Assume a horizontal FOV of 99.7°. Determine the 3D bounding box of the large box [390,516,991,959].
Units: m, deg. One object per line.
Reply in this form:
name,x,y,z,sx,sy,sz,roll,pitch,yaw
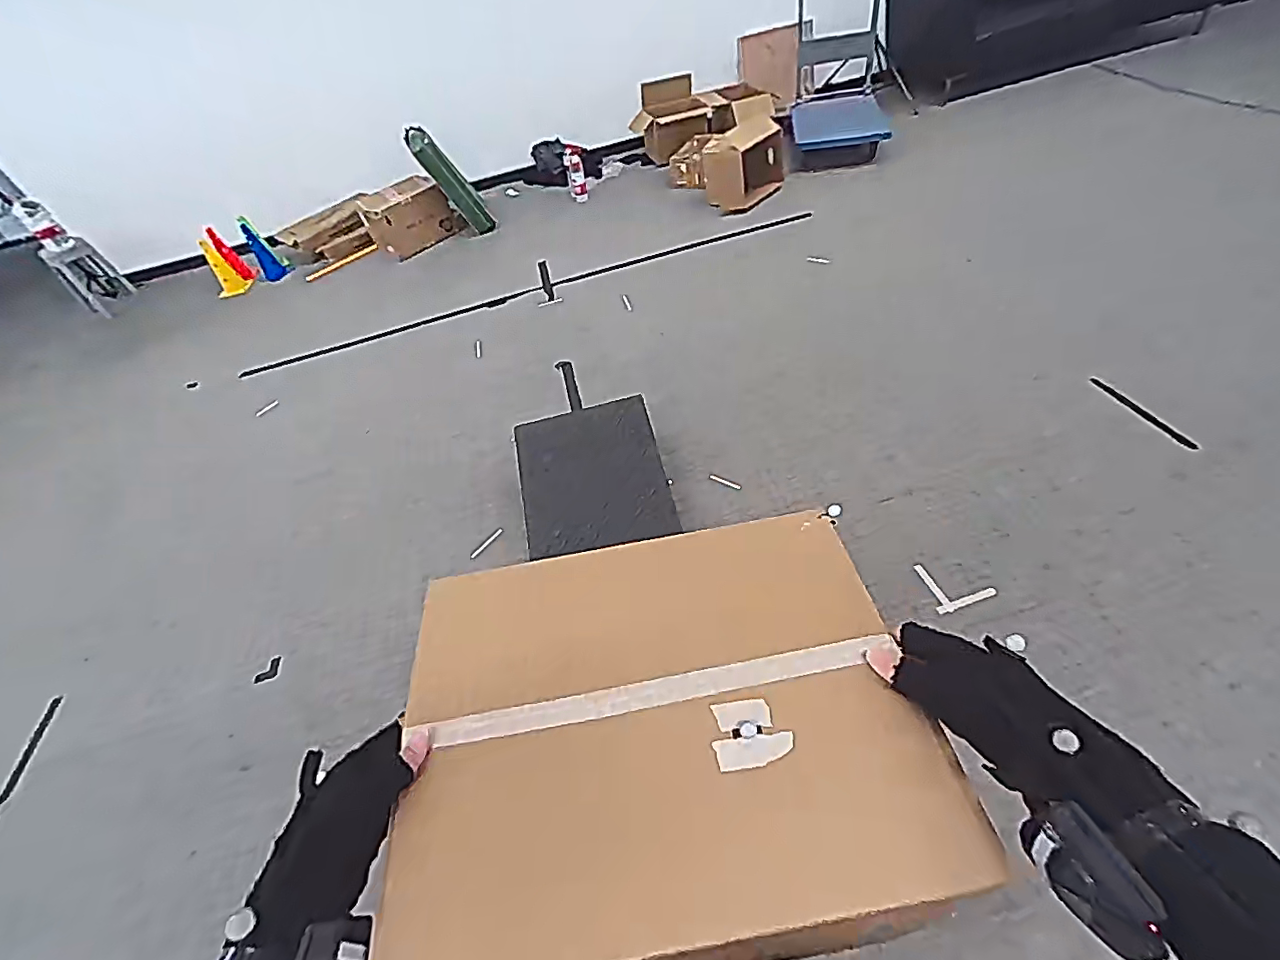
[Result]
large box,0.027,0.281,0.551,0.408,0.320,0.320,-10,45,-2
